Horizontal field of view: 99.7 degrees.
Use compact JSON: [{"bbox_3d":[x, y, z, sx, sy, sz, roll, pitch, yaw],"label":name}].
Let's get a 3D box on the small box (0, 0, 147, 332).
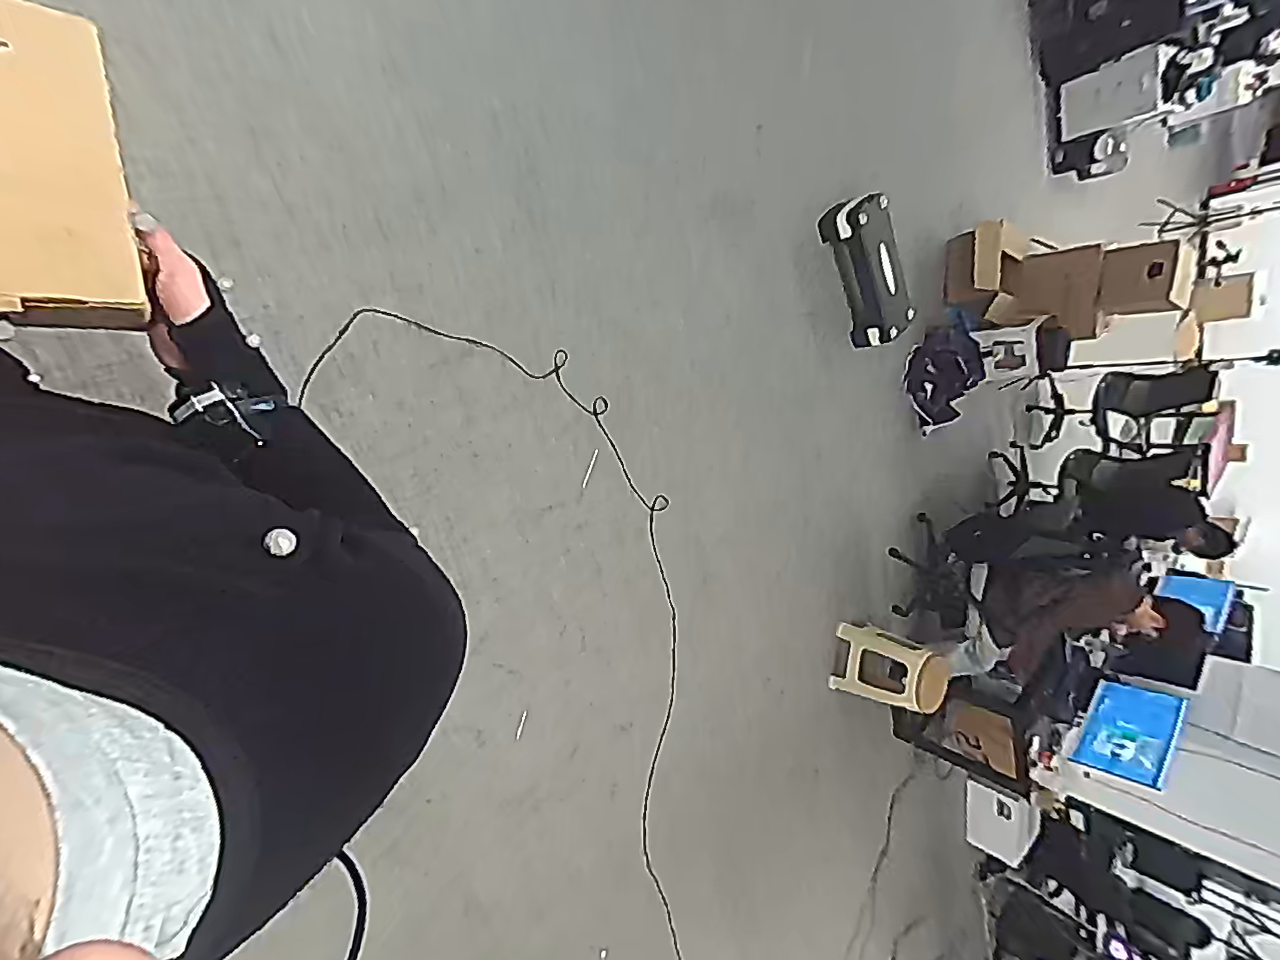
[{"bbox_3d":[-0.444,-0.193,0.353,0.168,0.176,0.179,-11,104,-42],"label":"small box"}]
